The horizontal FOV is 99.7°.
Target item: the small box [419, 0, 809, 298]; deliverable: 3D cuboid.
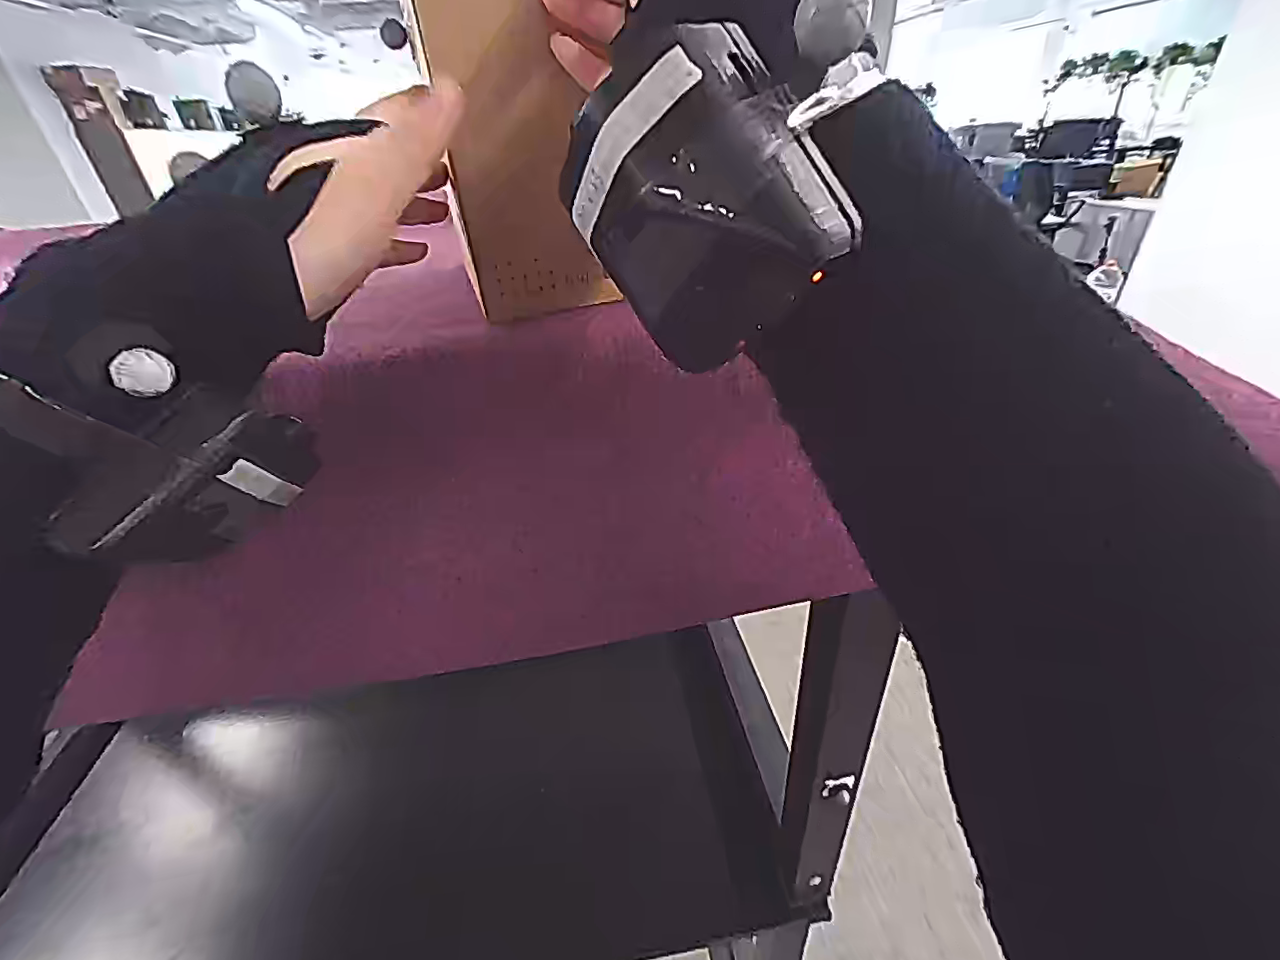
[{"bbox_3d":[-0.026,-0.210,0.306,0.168,0.176,0.179,-14,33,-13],"label":"small box"}]
